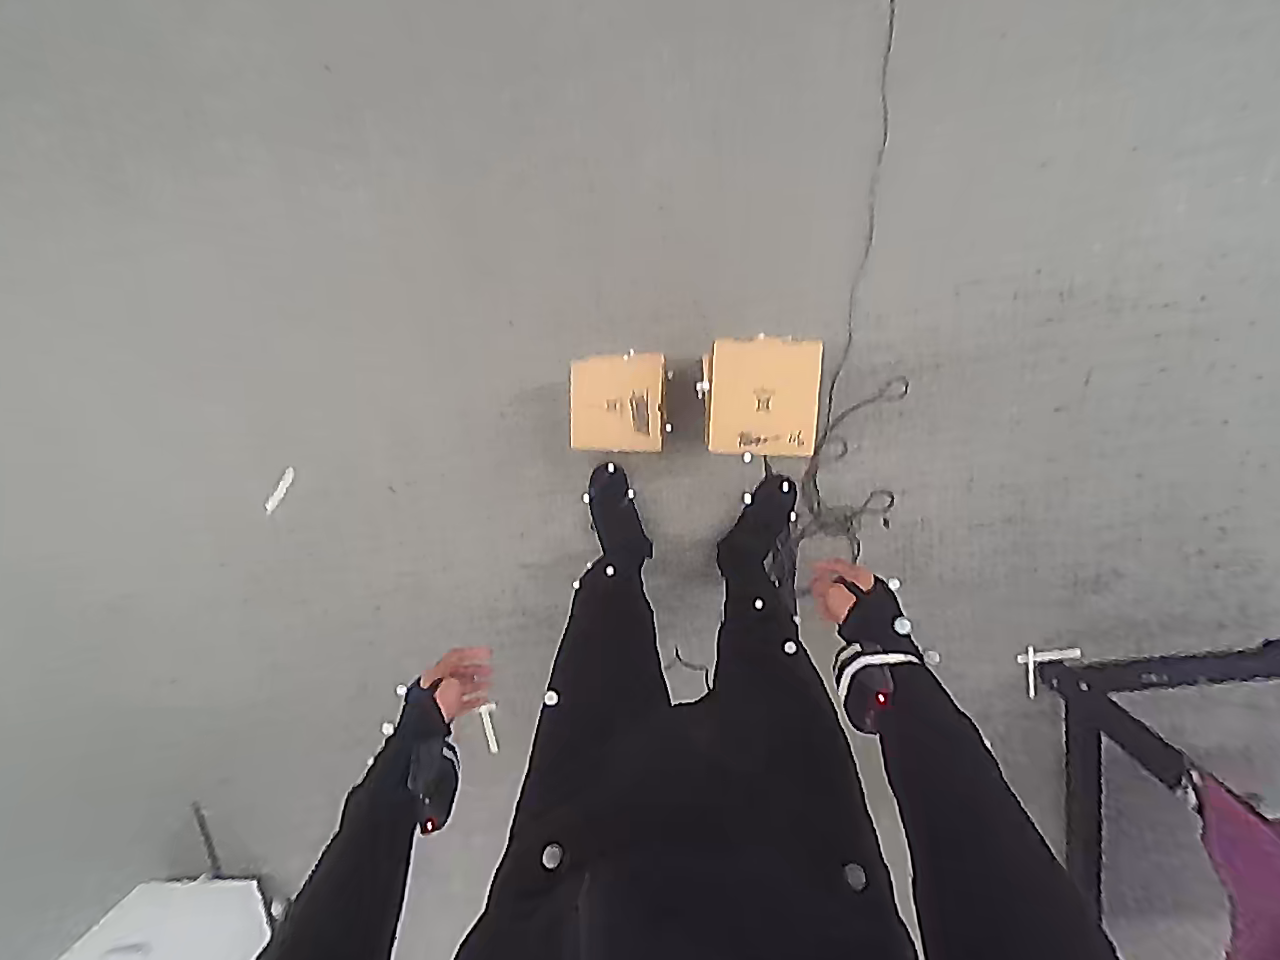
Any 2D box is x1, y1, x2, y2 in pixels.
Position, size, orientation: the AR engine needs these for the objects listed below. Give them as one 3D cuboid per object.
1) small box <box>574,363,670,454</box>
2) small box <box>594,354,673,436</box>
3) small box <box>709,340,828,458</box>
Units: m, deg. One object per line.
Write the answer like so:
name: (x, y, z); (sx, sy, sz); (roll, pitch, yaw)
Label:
small box: (-0.030, -0.149, 1.092); (0.179, 0.176, 0.168); (3, 101, 5)
small box: (-0.010, -0.195, 1.249); (0.168, 0.176, 0.179); (-1, 101, 6)
small box: (0.205, -0.136, 0.910); (0.168, 0.176, 0.179); (3, 100, 5)
